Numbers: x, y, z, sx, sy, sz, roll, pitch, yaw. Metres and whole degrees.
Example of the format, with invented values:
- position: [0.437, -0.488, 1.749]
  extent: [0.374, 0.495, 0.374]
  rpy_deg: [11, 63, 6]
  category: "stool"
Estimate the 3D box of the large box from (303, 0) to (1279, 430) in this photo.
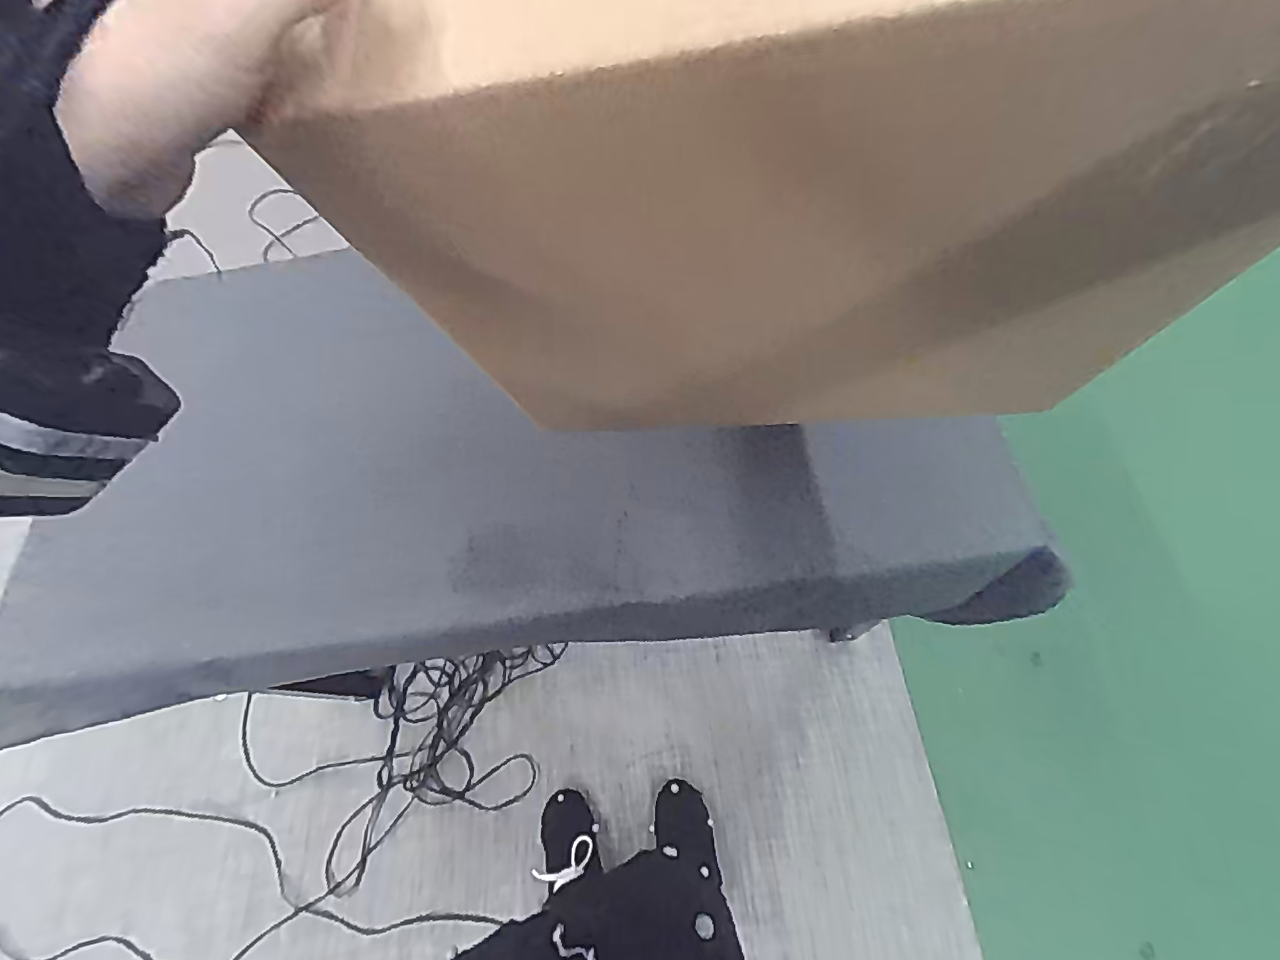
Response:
- position: [0.096, -0.235, 0.346]
  extent: [0.408, 0.320, 0.320]
  rpy_deg: [-2, 75, 9]
  category: "large box"
